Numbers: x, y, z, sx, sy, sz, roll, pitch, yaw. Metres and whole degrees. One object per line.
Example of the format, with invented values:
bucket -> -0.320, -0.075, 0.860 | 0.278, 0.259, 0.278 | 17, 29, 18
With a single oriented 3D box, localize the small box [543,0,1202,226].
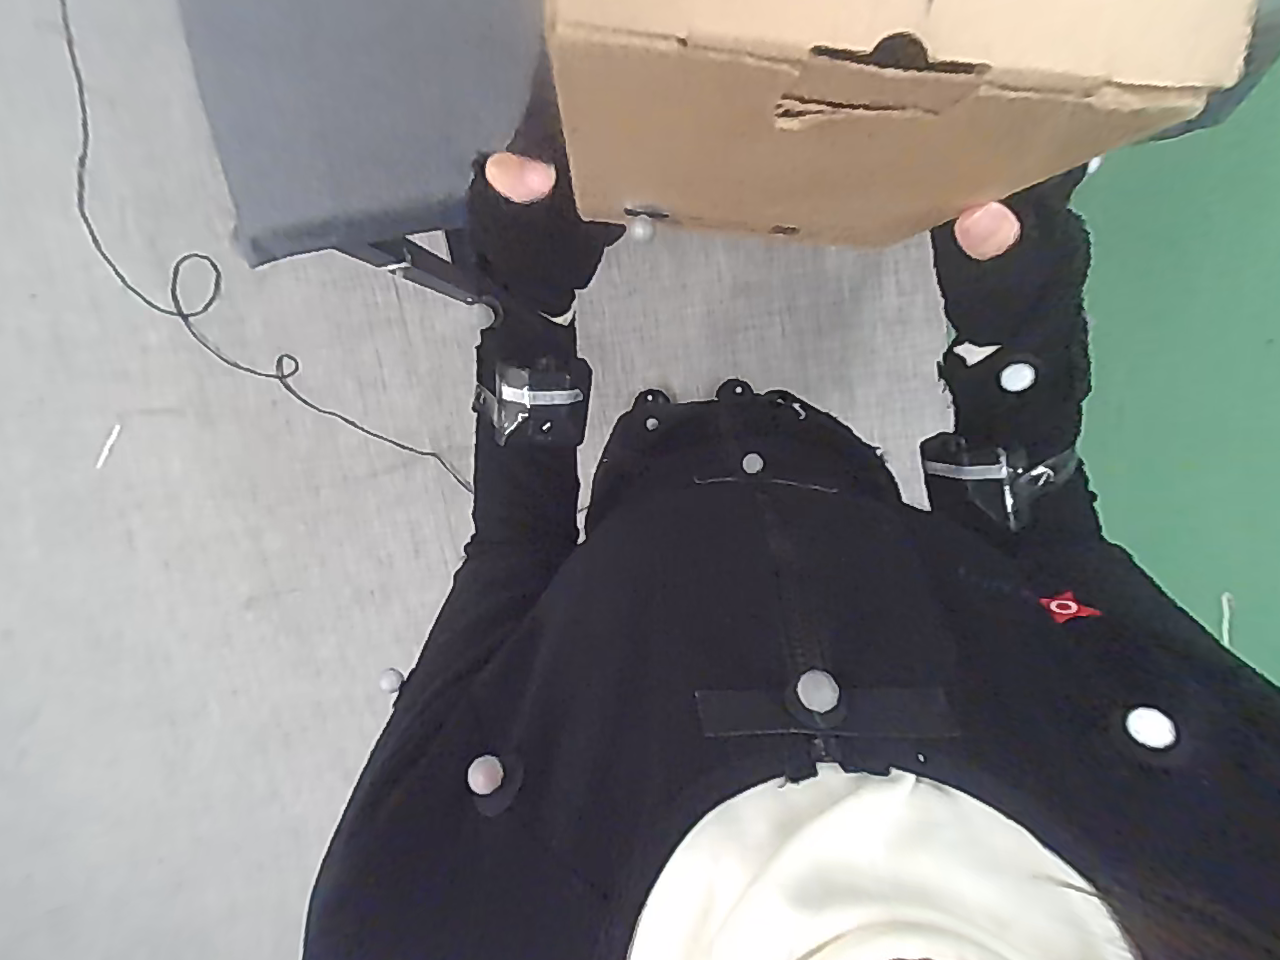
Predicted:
small box -> 0.060, -0.206, 0.195 | 0.168, 0.176, 0.179 | 3, 101, -4
